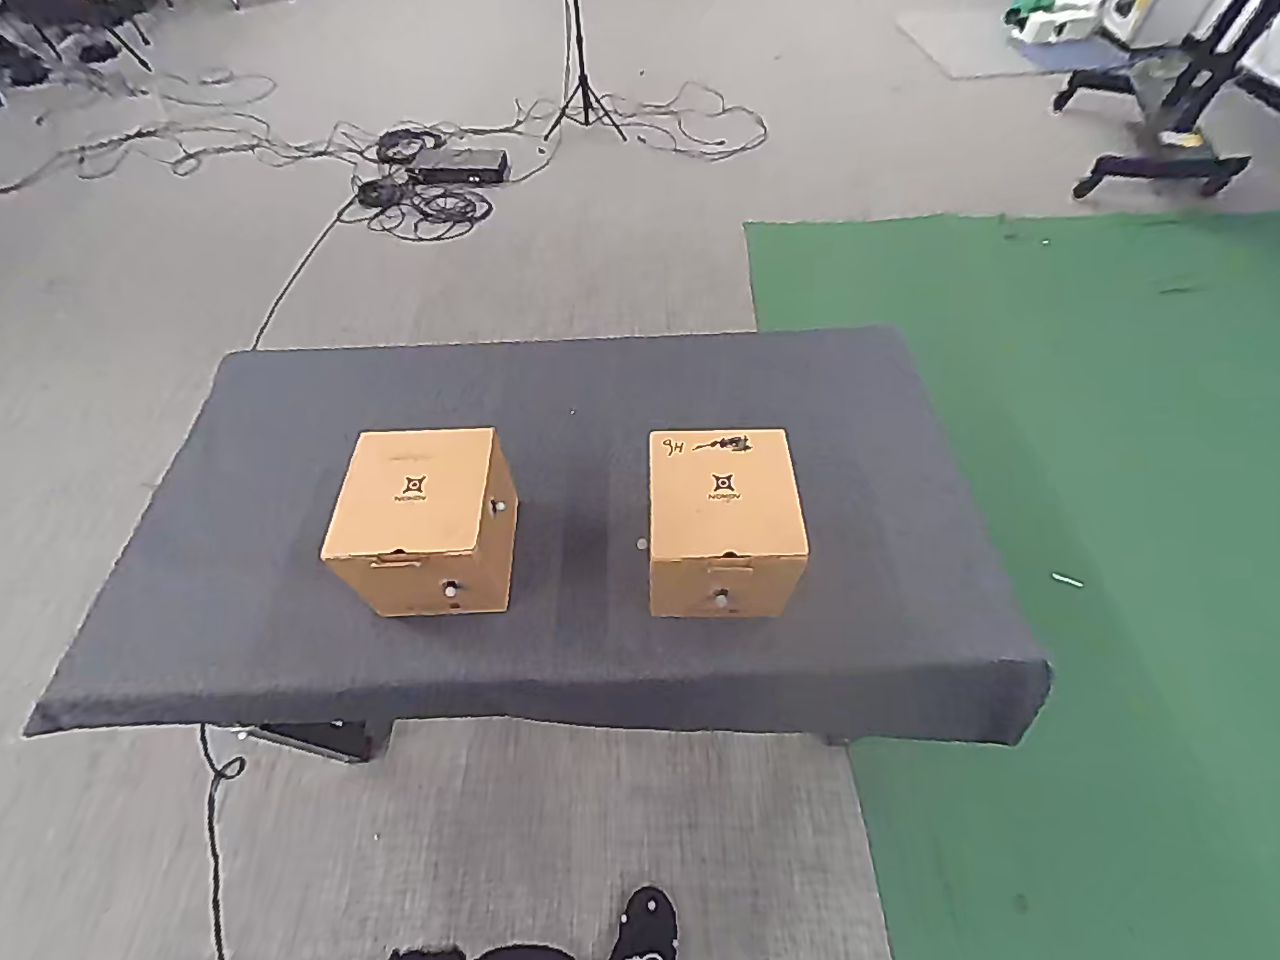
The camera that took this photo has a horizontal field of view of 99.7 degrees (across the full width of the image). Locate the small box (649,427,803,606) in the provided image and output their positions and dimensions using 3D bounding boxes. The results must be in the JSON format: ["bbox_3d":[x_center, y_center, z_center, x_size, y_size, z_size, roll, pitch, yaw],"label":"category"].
[{"bbox_3d":[0.095,0.053,0.683,0.168,0.176,0.179,-1,56,1],"label":"small box"}]

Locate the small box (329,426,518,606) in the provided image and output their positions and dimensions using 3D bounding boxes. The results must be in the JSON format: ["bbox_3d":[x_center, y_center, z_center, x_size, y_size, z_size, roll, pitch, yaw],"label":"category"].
[{"bbox_3d":[-0.257,0.053,0.692,0.168,0.176,0.179,-2,54,-2],"label":"small box"}]
